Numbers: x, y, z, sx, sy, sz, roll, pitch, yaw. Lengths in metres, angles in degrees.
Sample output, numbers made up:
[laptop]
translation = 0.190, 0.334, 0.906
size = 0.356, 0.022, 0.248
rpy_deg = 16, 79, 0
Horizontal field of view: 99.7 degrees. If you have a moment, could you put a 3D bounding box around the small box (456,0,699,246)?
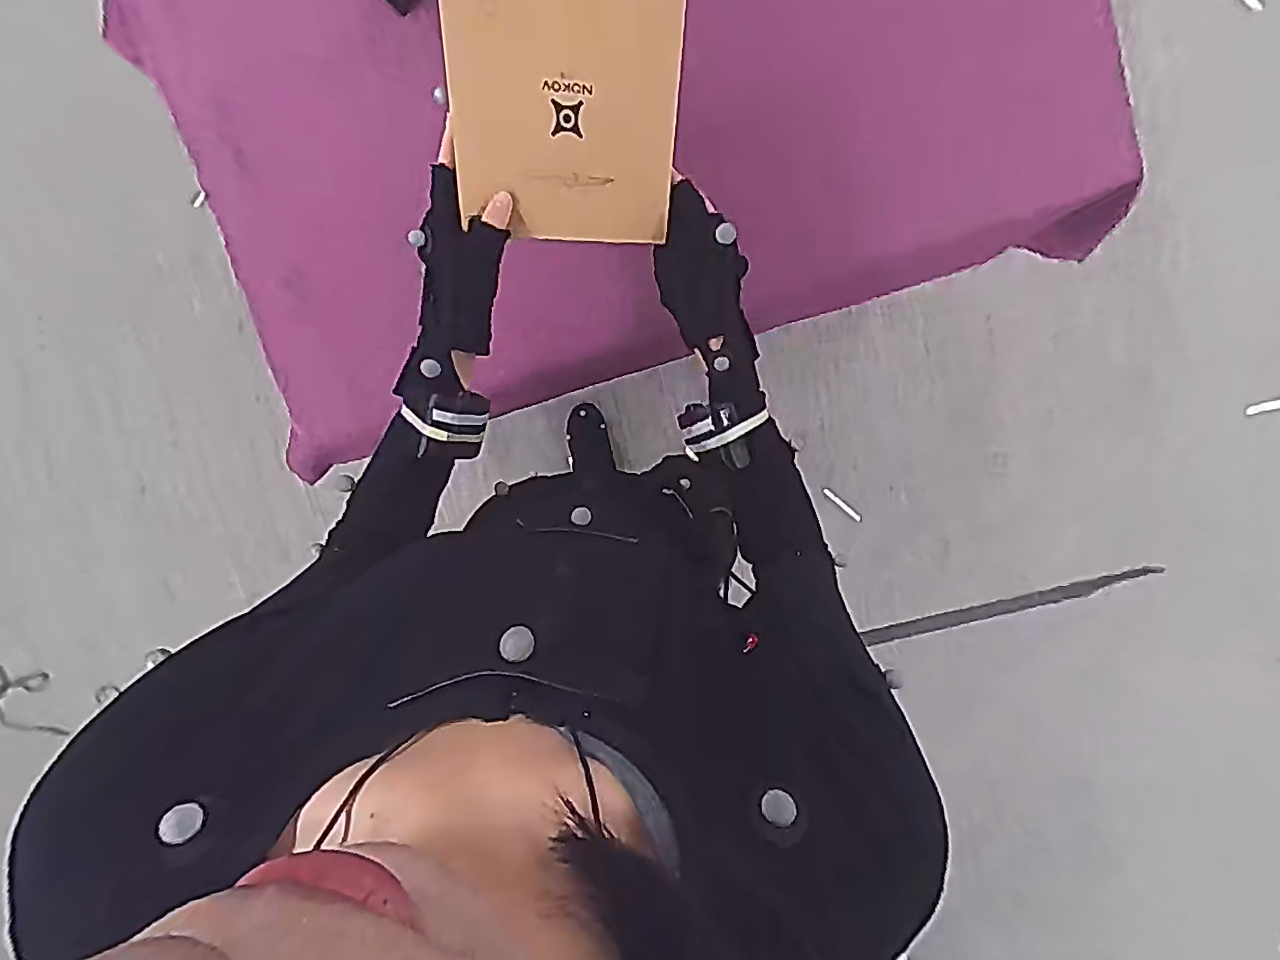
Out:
[small box]
translation = -0.057, -0.309, 0.457
size = 0.168, 0.176, 0.179
rpy_deg = -2, 124, -10
